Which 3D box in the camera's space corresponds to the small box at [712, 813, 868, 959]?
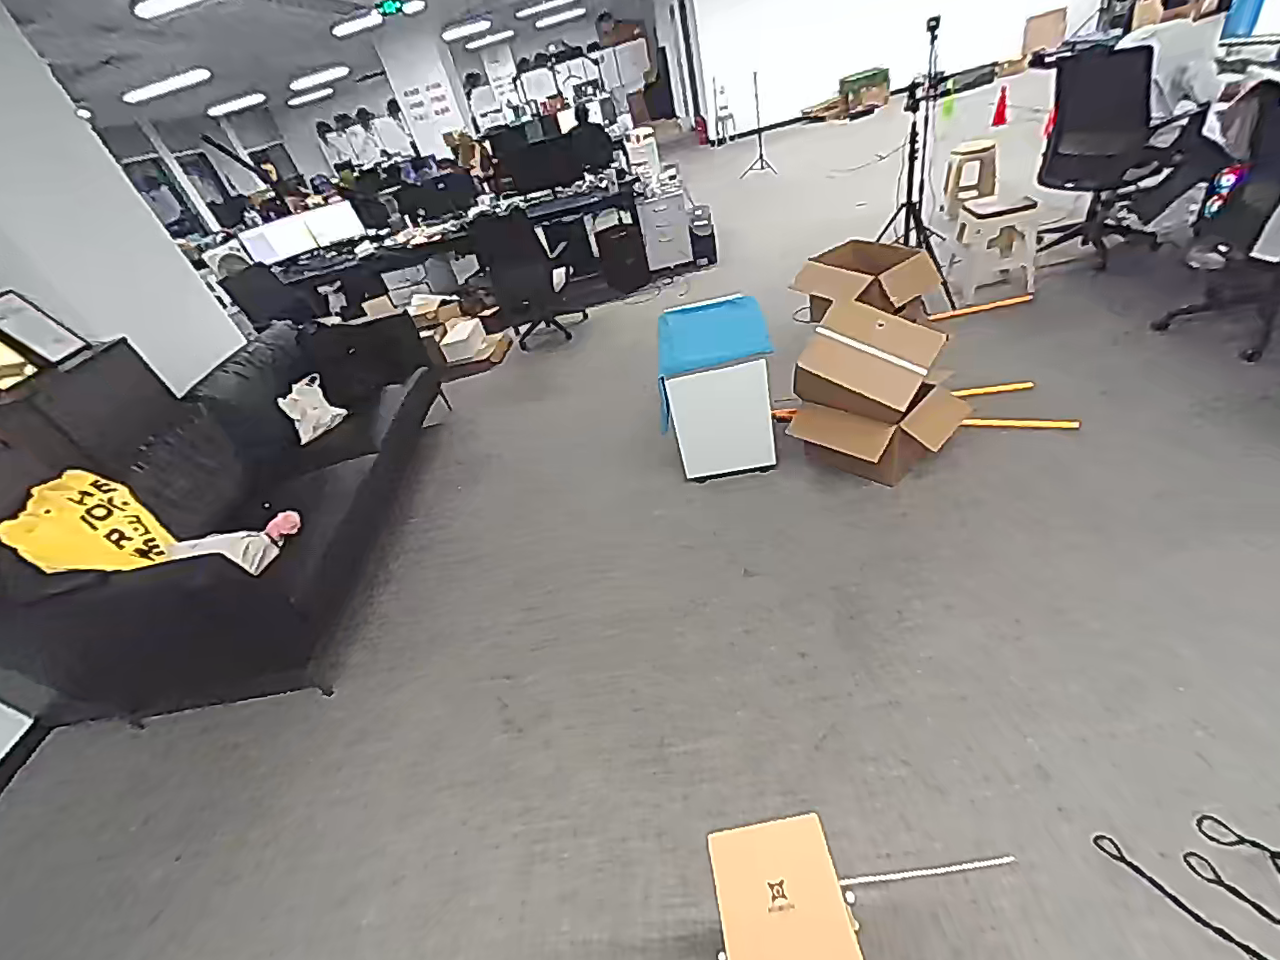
[{"bbox_3d":[0.209,0.610,0.765,0.168,0.176,0.179,-15,38,5],"label":"small box"}]
